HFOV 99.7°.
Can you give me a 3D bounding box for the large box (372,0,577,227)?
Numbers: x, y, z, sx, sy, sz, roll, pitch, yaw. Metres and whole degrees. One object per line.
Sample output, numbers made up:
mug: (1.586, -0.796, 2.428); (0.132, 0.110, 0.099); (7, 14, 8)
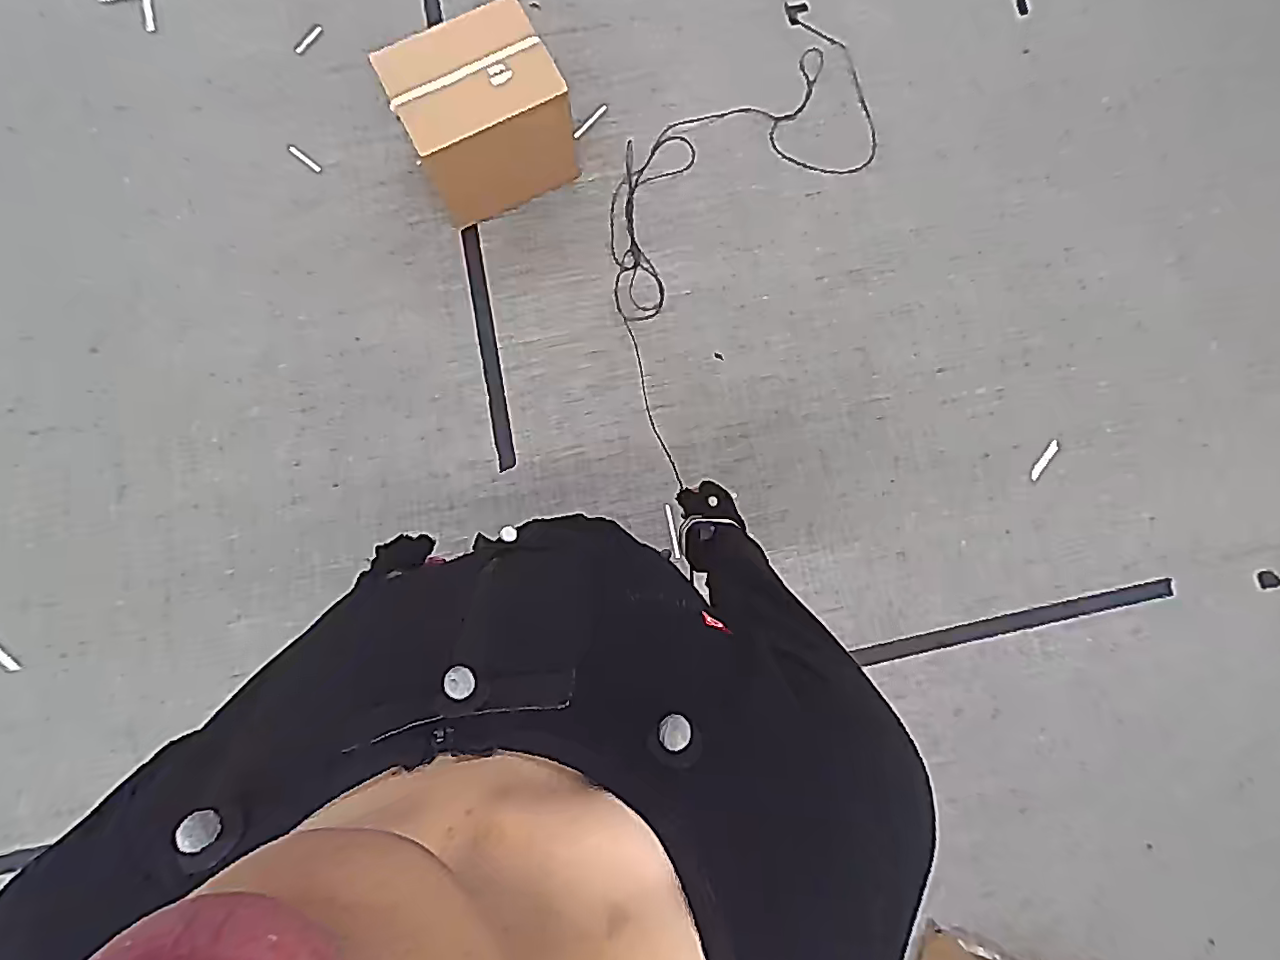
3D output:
large box: (-0.428, -0.985, 1.483); (0.408, 0.320, 0.320); (-28, 85, -5)
